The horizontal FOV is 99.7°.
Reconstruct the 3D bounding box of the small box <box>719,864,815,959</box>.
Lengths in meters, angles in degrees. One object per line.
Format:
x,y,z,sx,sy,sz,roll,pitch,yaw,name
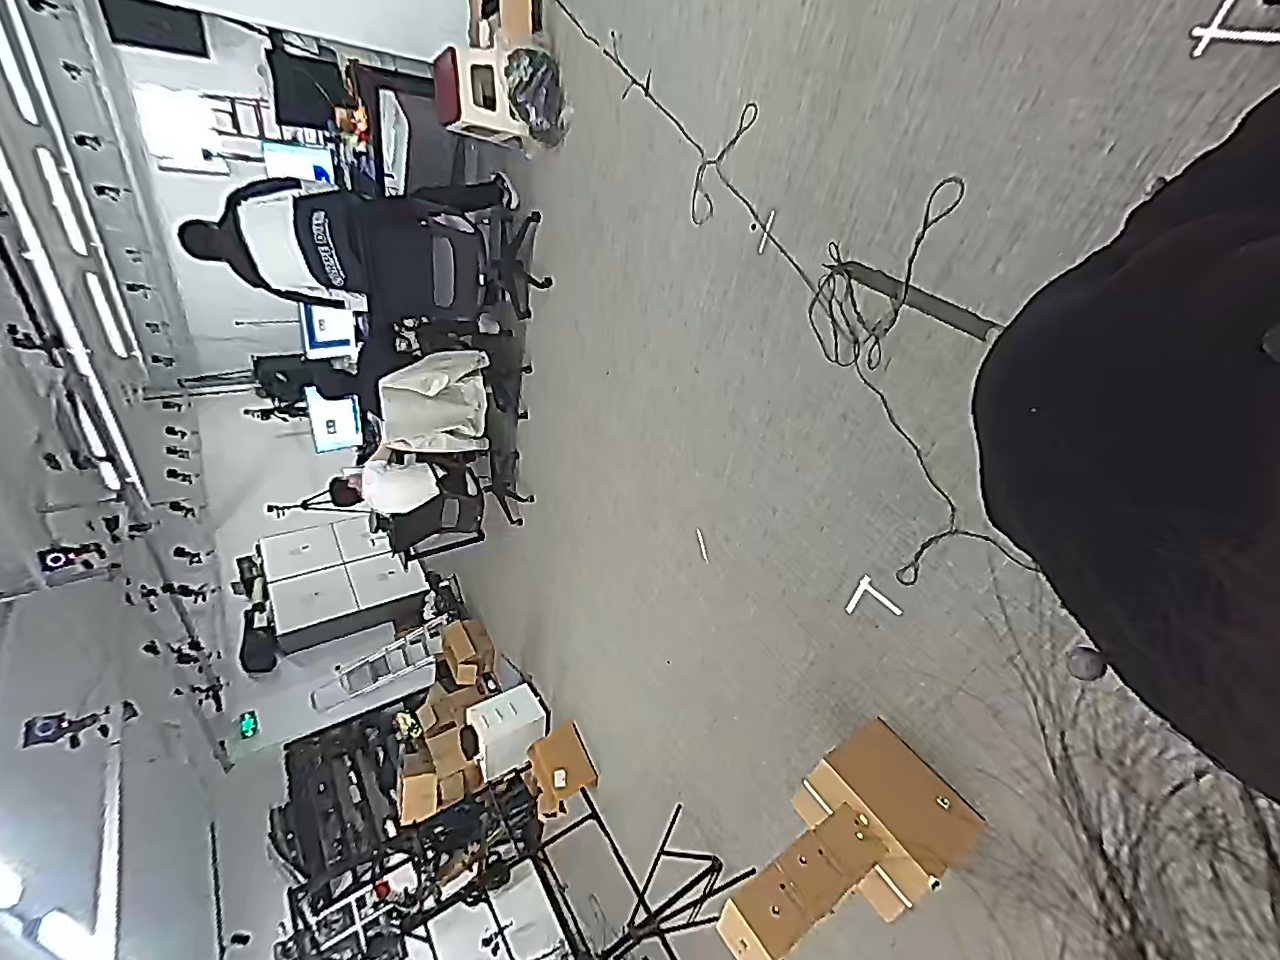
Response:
0.341,1.183,1.446,0.168,0.176,0.179,40,132,43,small box

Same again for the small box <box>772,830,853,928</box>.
0.473,1.145,1.538,0.168,0.176,0.179,44,135,40,small box

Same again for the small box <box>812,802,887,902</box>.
0.606,1.119,1.628,0.168,0.176,0.179,44,134,38,small box
